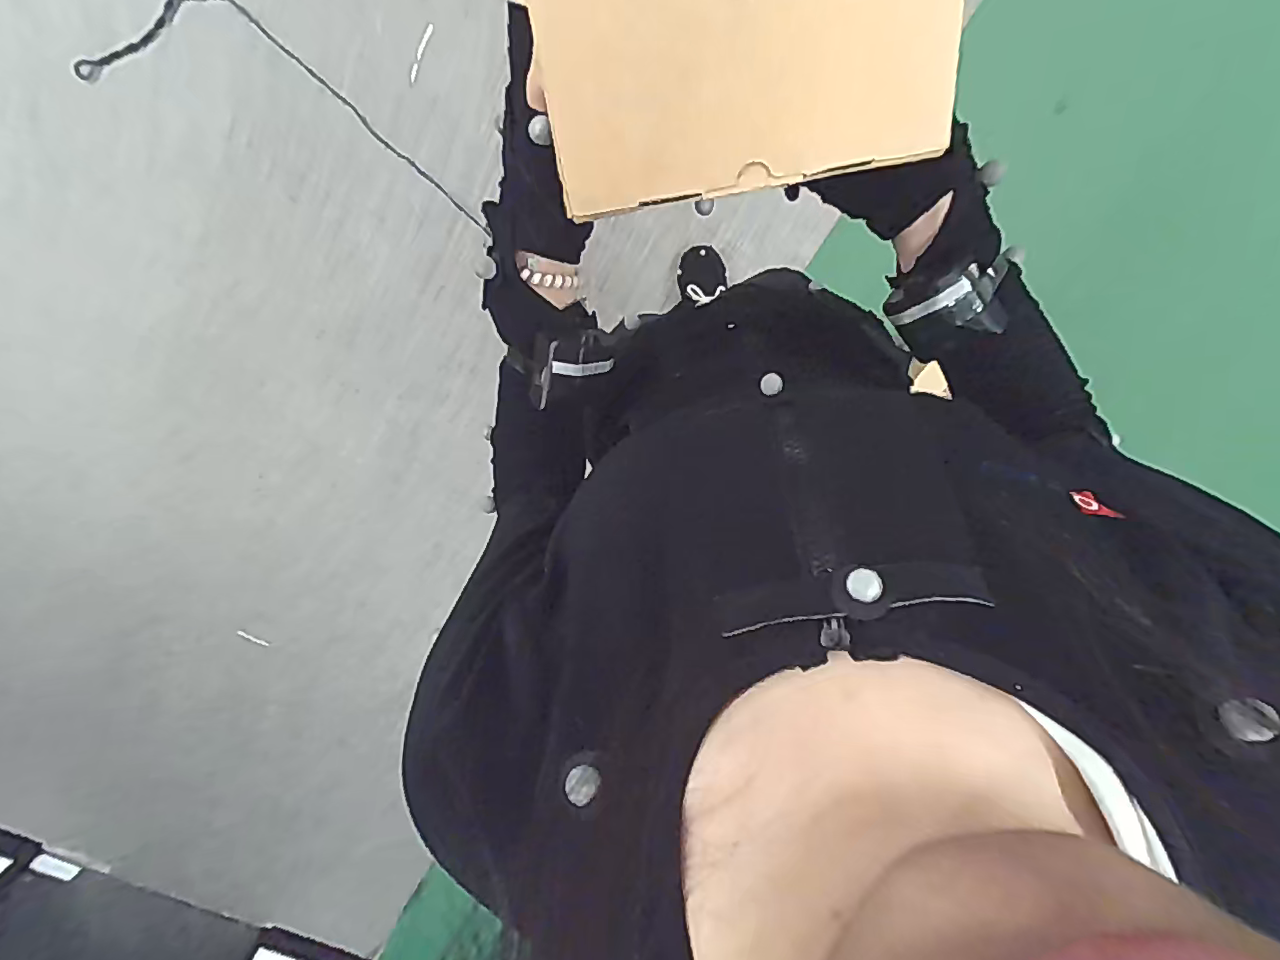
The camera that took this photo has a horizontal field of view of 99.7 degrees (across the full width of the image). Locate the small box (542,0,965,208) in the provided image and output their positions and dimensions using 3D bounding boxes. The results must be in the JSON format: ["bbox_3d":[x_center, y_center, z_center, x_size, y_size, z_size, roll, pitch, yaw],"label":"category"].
[{"bbox_3d":[0.040,-0.246,0.269,0.168,0.176,0.179,-8,119,6],"label":"small box"}]
